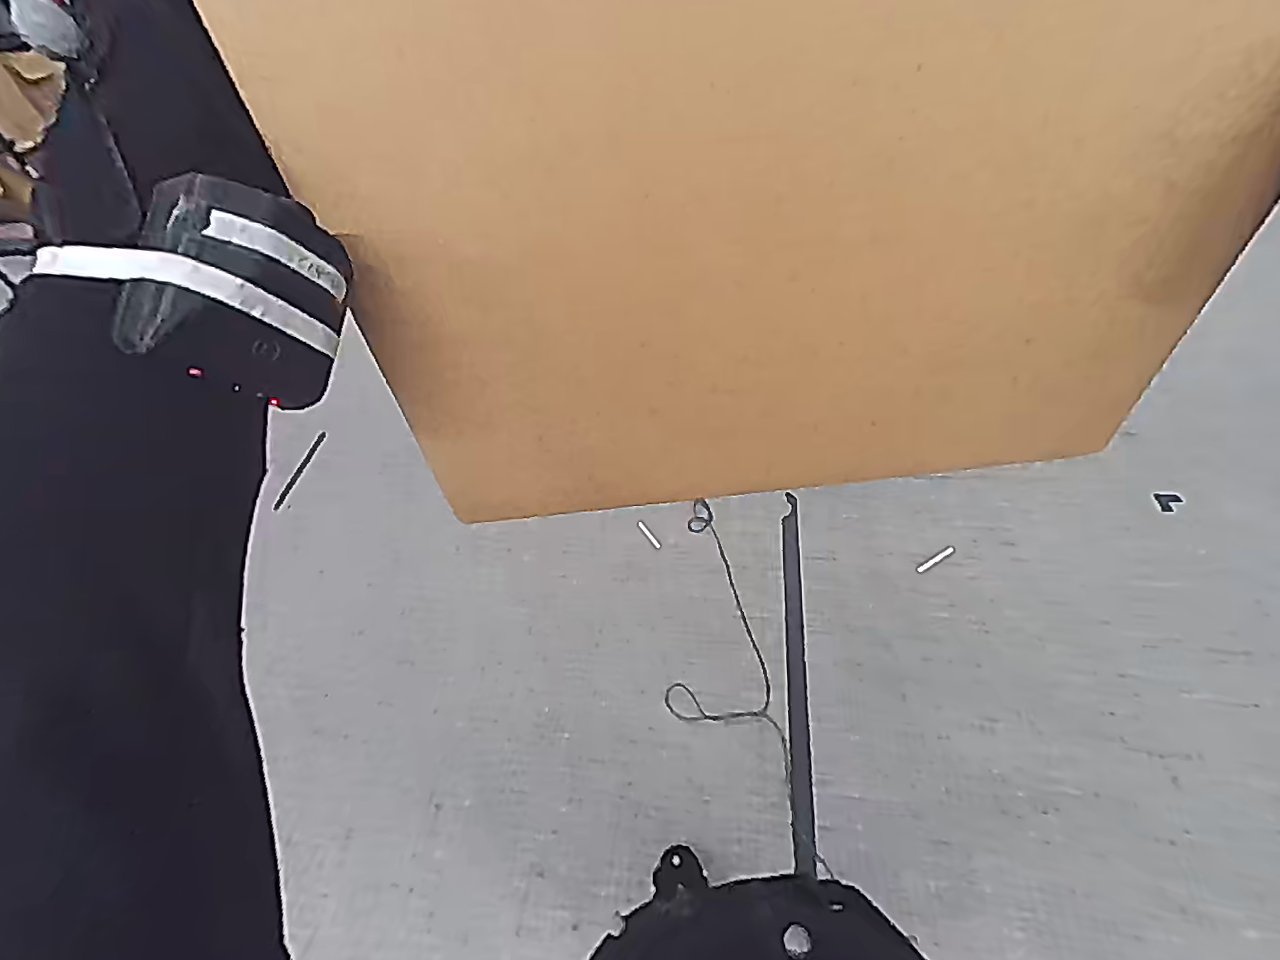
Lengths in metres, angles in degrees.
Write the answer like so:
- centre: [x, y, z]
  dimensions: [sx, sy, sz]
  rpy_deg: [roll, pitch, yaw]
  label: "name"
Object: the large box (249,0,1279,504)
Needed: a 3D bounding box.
- centre: [0.059, -0.214, 0.351]
  dimensions: [0.408, 0.320, 0.320]
  rpy_deg: [-6, 46, 0]
  label: "large box"
